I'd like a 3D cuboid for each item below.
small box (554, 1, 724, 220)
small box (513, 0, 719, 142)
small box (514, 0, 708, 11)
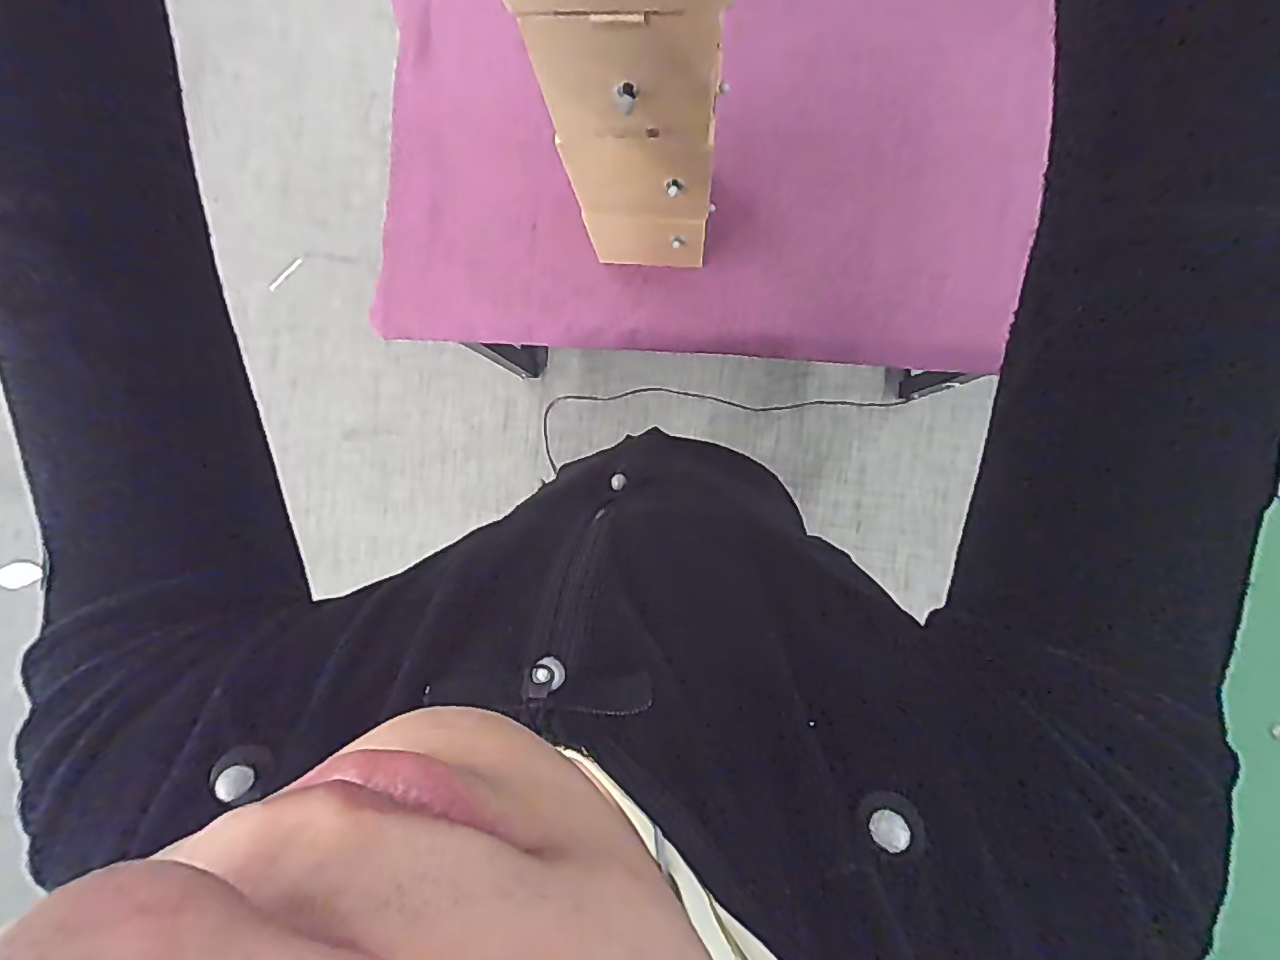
[{"bbox_3d":[0.004,-0.442,0.667,0.179,0.176,0.168,4,90,5],"label":"small box"},{"bbox_3d":[-0.010,-0.448,0.505,0.168,0.176,0.179,3,90,4],"label":"small box"},{"bbox_3d":[-0.022,-0.445,0.341,0.179,0.176,0.168,3,90,4],"label":"small box"}]
